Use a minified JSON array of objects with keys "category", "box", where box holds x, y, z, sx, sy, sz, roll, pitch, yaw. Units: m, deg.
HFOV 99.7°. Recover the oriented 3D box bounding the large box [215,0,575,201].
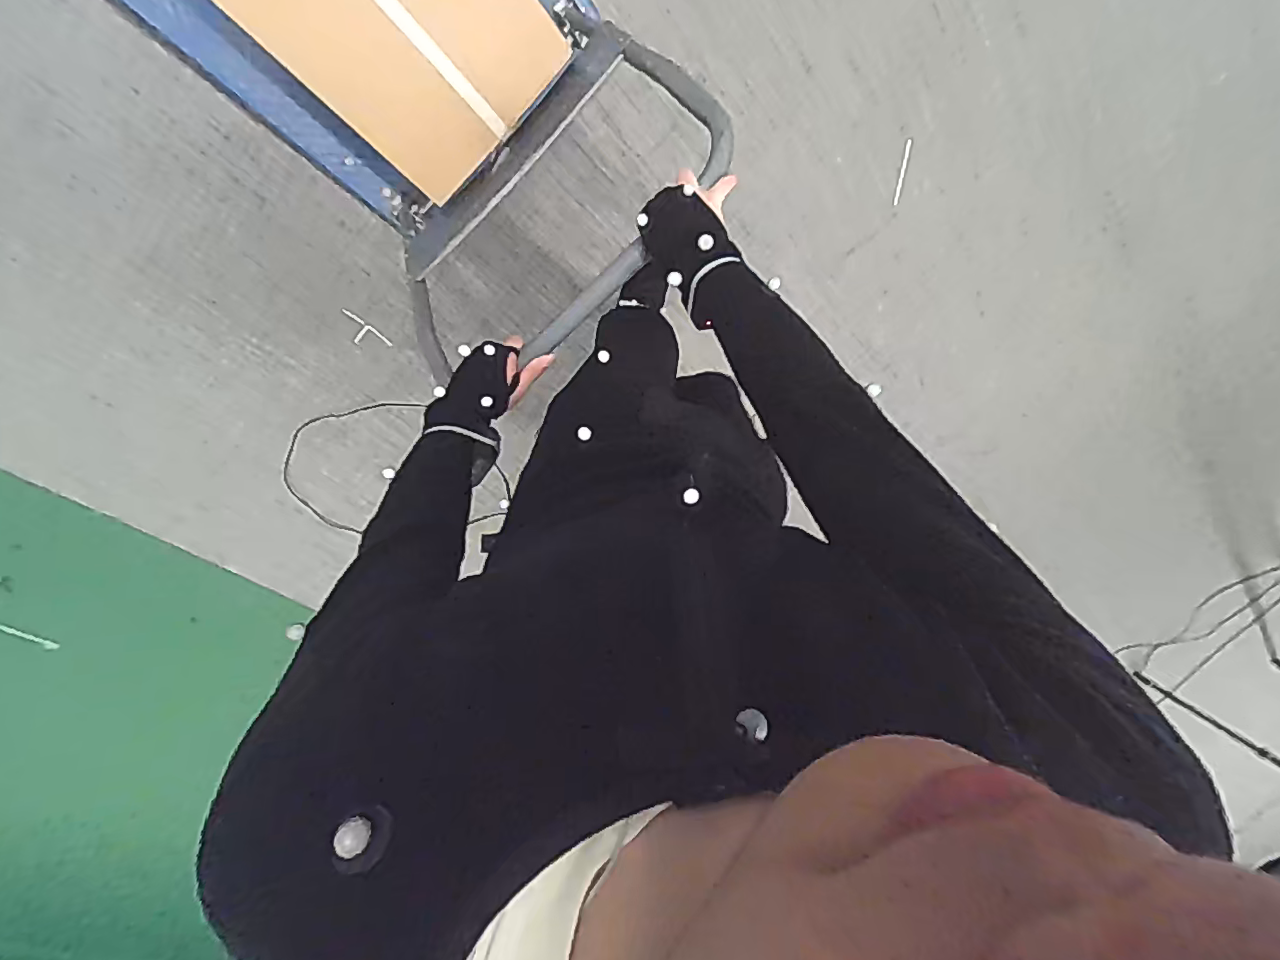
[{"category":"large box","box":[-0.364,-0.723,0.806,0.320,0.320,0.408,-40,134,16]}]
